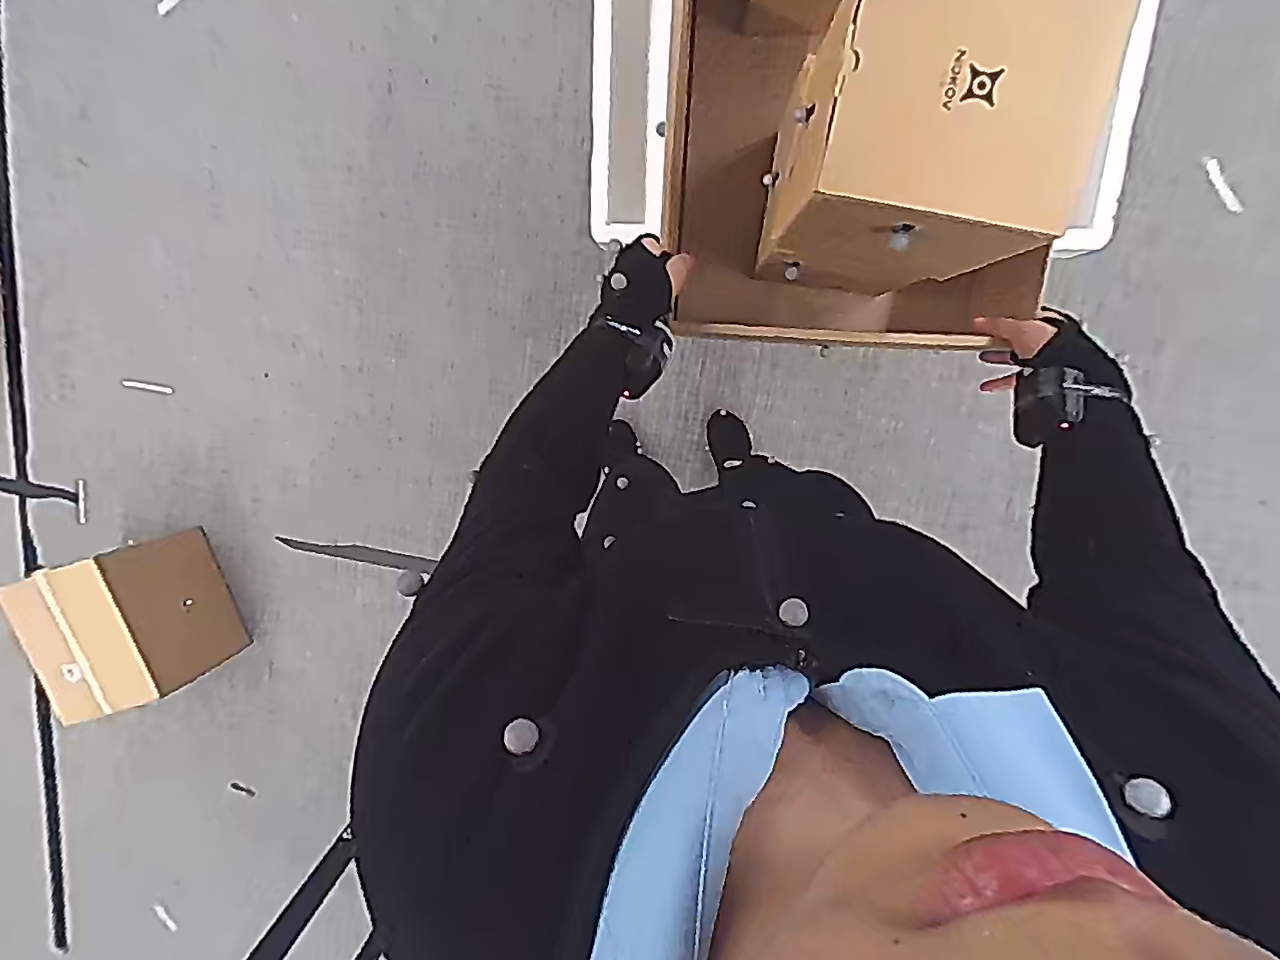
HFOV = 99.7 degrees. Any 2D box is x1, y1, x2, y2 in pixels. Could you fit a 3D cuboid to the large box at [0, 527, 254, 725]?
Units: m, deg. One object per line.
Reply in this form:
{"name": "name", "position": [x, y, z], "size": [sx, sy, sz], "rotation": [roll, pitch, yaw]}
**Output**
{"name": "large box", "position": [-1.416, 0.395, 1.532], "size": [0.320, 0.320, 0.408], "rotation": [-17, 99, 8]}

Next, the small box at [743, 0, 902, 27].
{"name": "small box", "position": [0.205, -0.587, 0.531], "size": [0.179, 0.176, 0.168], "rotation": [1, 102, 3]}
